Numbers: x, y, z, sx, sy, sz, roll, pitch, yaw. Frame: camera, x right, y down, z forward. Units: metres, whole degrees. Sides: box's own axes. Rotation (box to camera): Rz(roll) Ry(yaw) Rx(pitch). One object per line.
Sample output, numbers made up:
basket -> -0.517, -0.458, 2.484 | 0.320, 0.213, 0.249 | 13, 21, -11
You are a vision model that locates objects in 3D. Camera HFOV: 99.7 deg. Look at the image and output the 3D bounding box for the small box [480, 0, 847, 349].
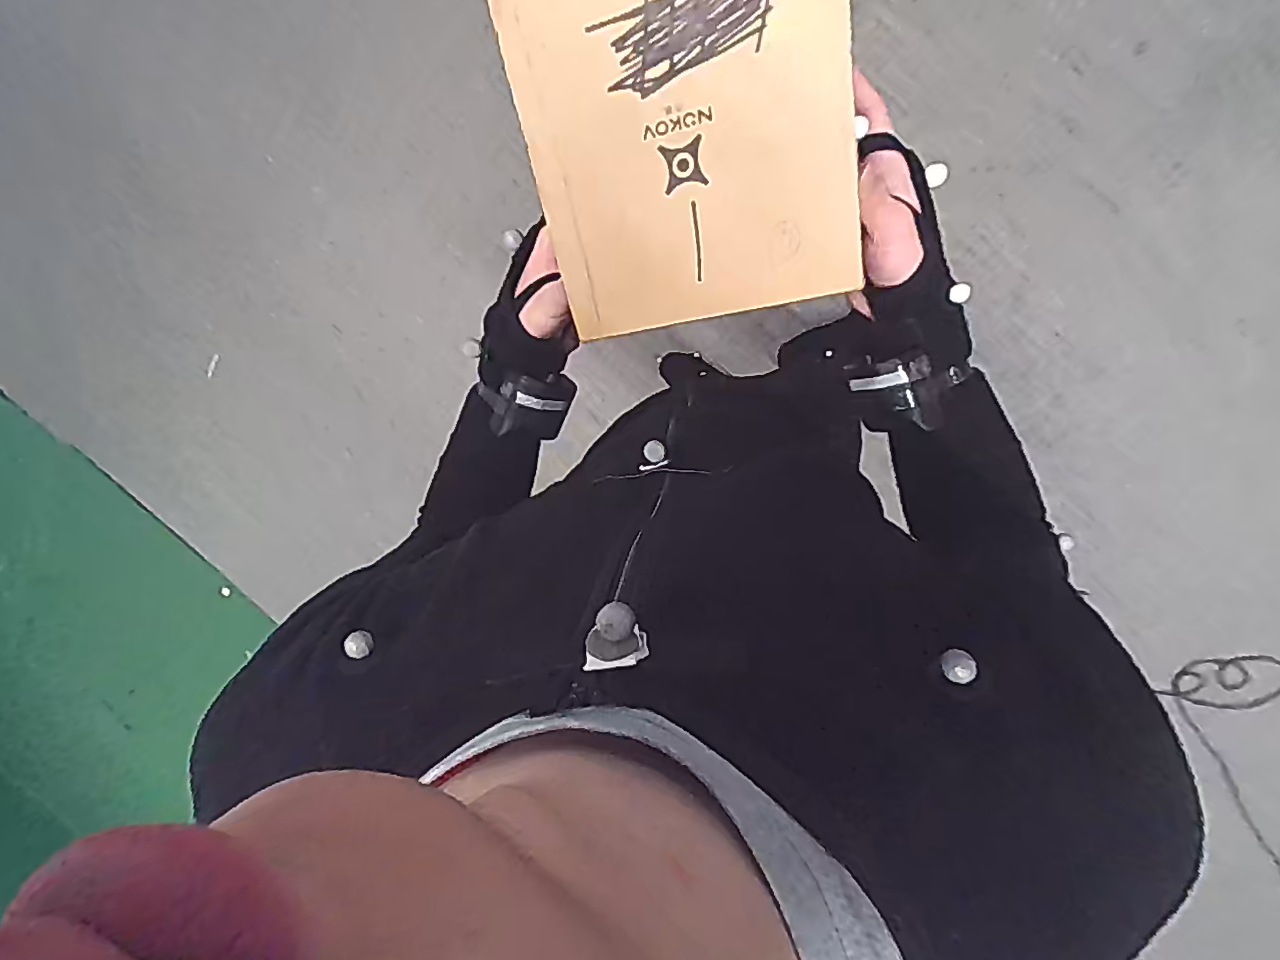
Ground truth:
small box -> 0.032, -0.200, 0.347 | 0.168, 0.176, 0.179 | -6, 114, 18
